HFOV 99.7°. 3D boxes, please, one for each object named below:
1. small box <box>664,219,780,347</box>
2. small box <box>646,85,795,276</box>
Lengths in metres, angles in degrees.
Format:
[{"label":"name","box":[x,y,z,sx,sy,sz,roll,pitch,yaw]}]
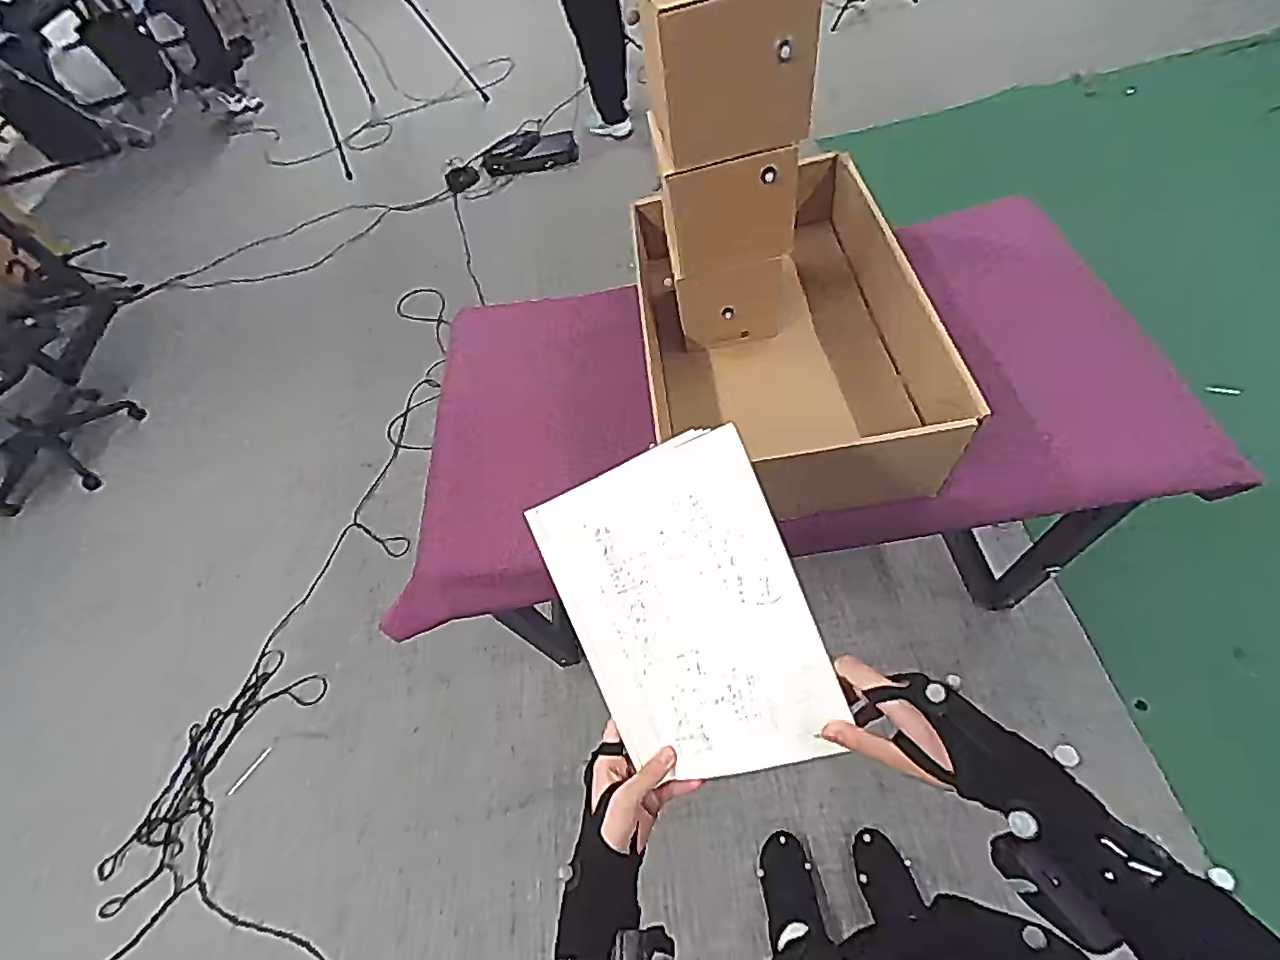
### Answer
[{"label":"small box","box":[0.142,-0.349,0.930,0.168,0.176,0.179,-10,59,7]},{"label":"small box","box":[0.118,-0.428,0.791,0.179,0.176,0.168,-12,59,5]}]
